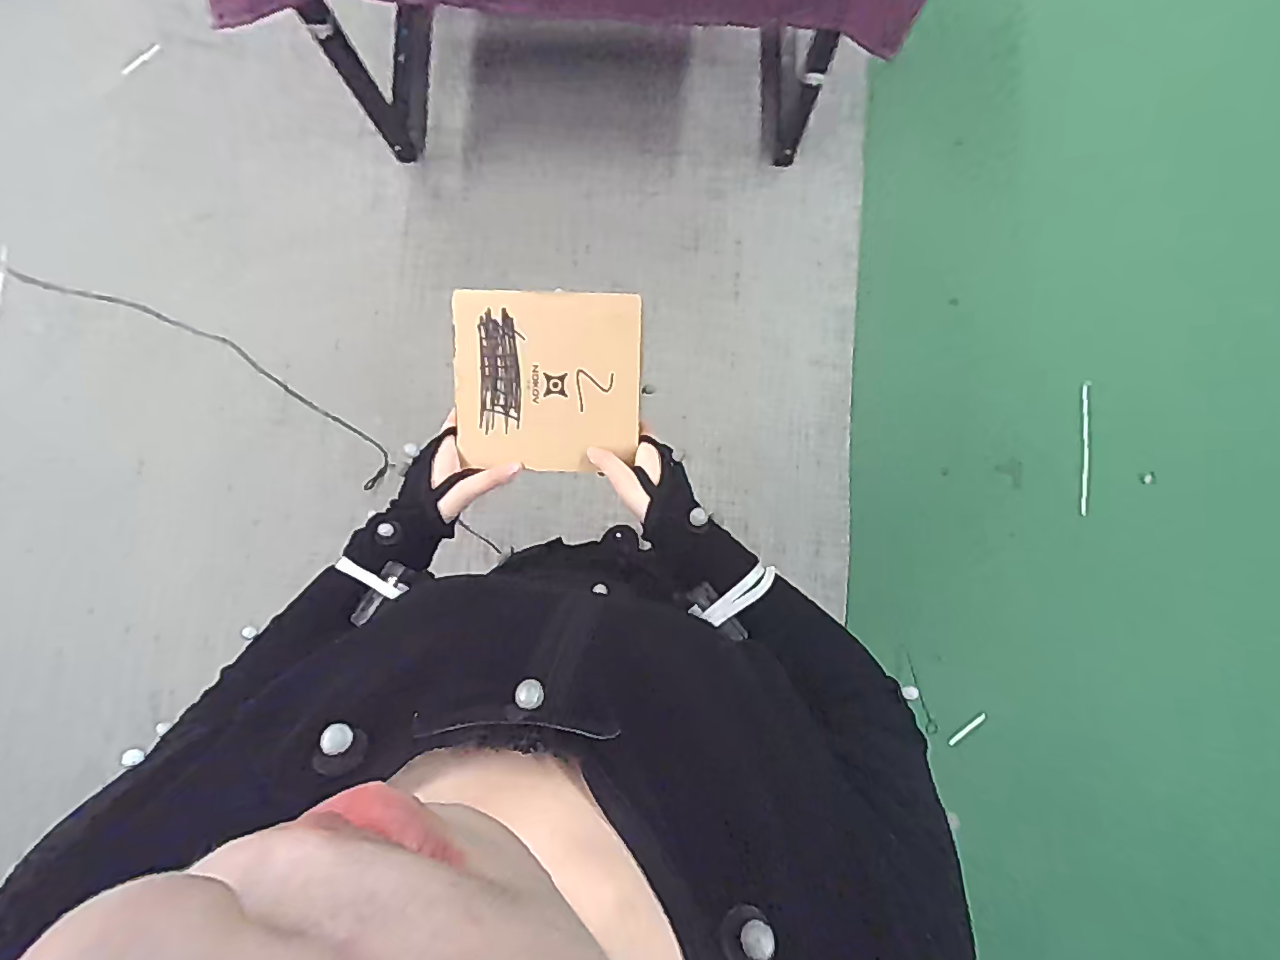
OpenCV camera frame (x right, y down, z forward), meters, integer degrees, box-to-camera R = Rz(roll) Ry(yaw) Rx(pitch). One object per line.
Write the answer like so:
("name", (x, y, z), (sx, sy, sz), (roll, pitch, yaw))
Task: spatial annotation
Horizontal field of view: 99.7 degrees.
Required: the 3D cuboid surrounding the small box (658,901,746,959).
("small box", (0.128, 1.048, 1.139), (0.168, 0.176, 0.179), (12, 83, 1))
